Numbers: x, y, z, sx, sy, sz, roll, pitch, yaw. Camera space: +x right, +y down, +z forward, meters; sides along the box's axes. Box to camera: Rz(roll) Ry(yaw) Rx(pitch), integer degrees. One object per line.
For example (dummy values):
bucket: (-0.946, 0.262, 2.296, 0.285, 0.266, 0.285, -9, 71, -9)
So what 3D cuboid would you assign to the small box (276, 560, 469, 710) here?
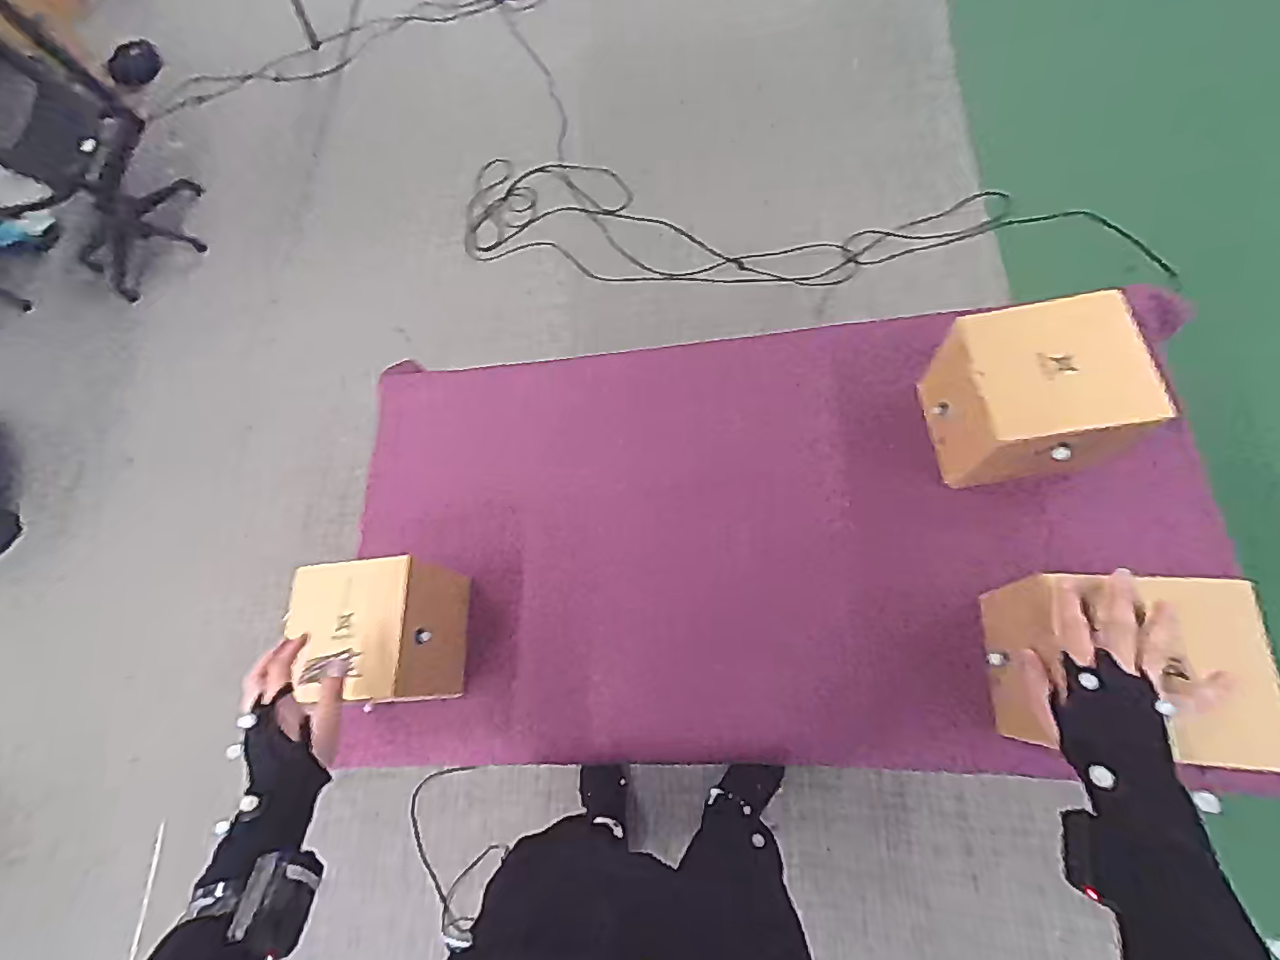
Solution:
small box: (-0.355, 0.218, 0.751, 0.168, 0.176, 0.179, -7, 68, 10)

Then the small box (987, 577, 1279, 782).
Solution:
small box: (0.497, 0.199, 0.563, 0.179, 0.176, 0.168, 0, 70, 14)

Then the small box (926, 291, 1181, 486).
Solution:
small box: (0.487, -0.101, 0.671, 0.179, 0.176, 0.168, -9, 70, 11)
